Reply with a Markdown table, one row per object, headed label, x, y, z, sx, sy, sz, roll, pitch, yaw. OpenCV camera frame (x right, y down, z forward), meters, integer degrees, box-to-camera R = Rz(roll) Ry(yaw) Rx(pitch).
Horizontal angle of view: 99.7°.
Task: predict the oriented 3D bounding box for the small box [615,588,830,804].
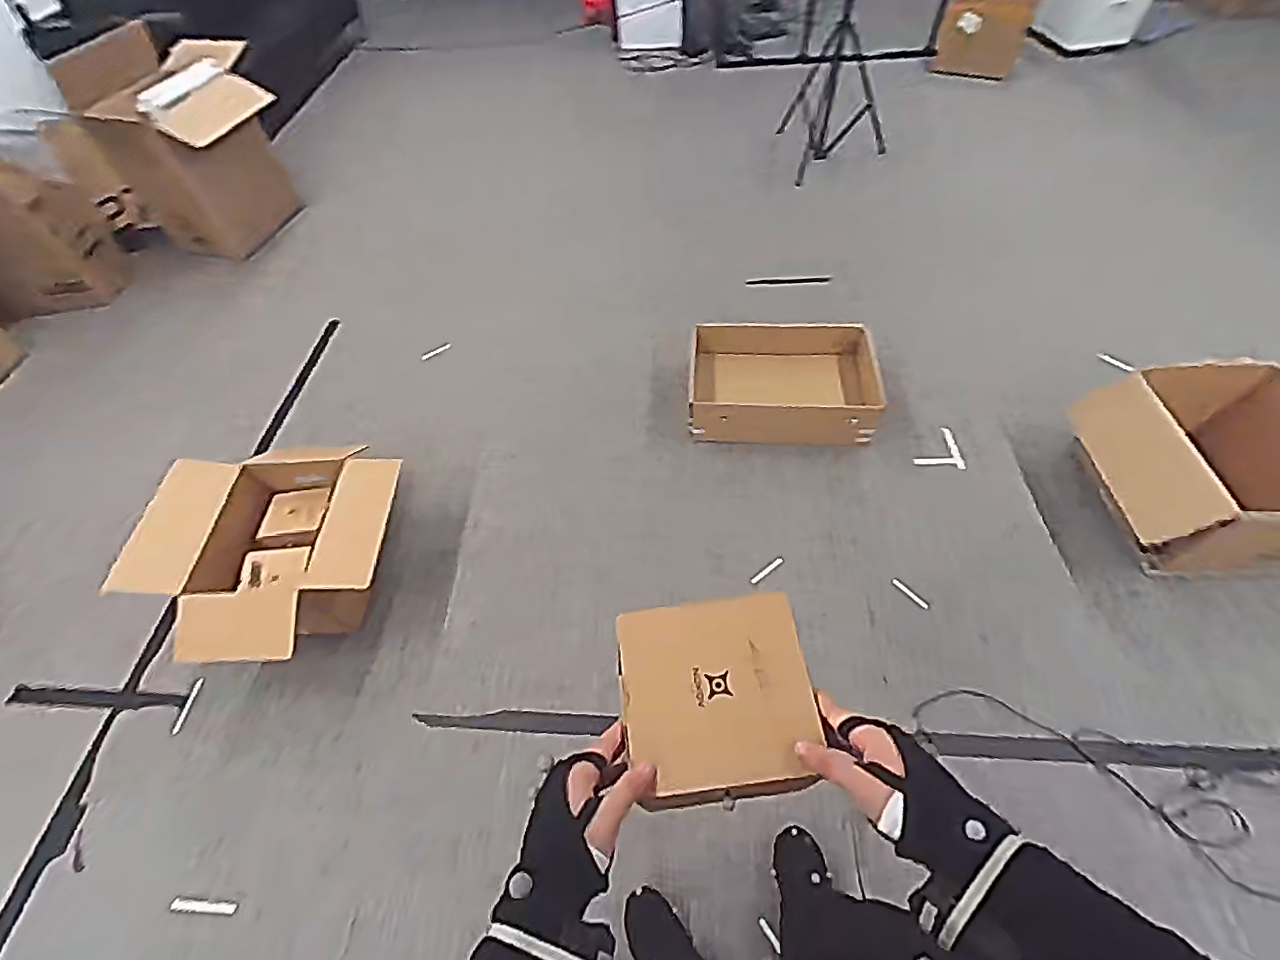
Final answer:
| label | x | y | z | sx | sy | sz | roll | pitch | yaw |
| --- | --- | --- | --- | --- | --- | --- | --- | --- | --- |
| small box | 0.076 | 0.232 | 0.568 | 0.179 | 0.176 | 0.168 | -8 | 56 | 0 |
